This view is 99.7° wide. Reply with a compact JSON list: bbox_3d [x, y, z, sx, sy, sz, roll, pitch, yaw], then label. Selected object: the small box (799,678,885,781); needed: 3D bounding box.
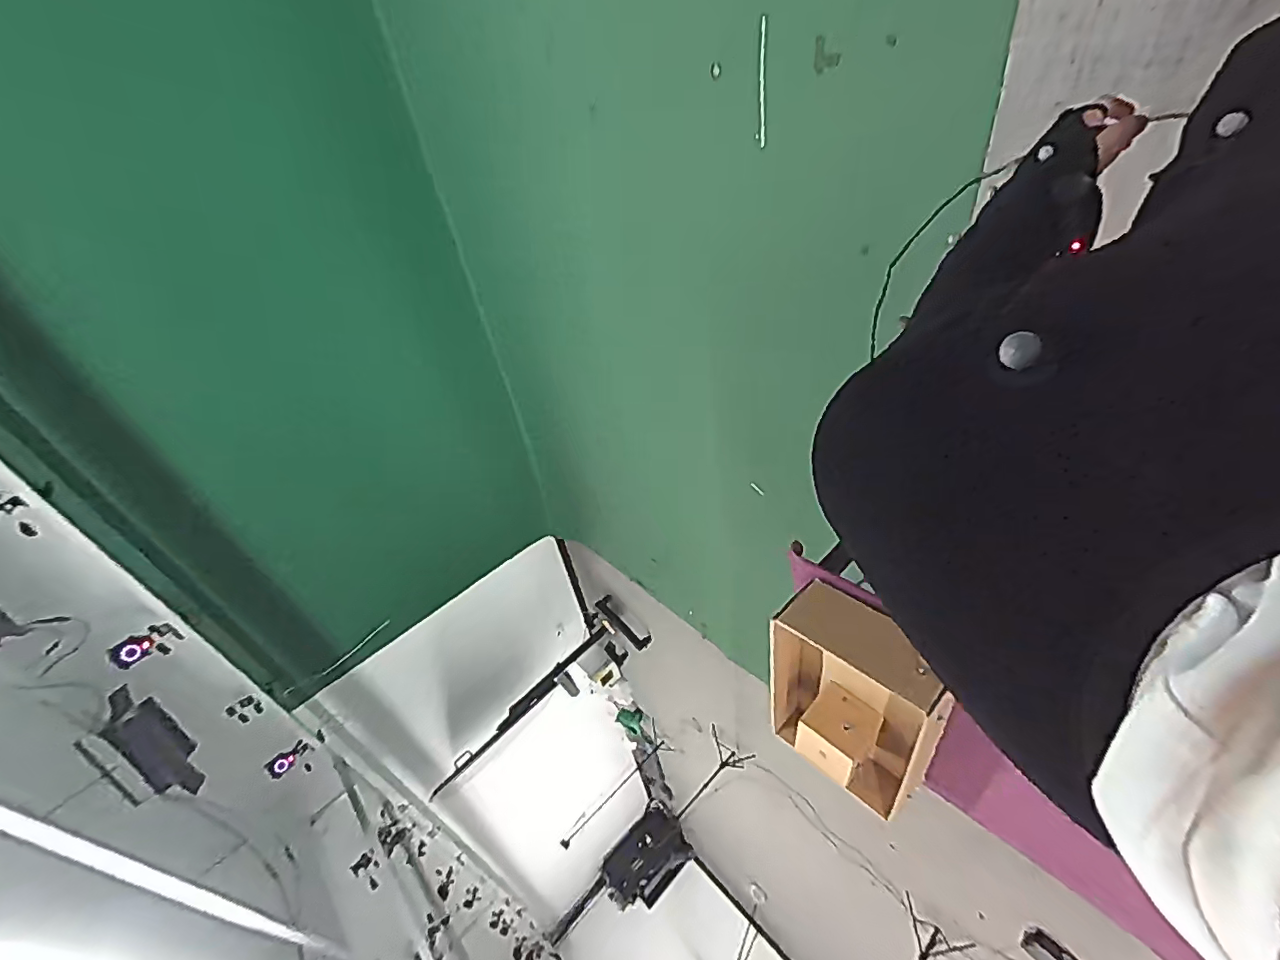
[{"bbox_3d":[0.579,0.708,1.547,0.168,0.176,0.179,29,143,36],"label":"small box"}]
